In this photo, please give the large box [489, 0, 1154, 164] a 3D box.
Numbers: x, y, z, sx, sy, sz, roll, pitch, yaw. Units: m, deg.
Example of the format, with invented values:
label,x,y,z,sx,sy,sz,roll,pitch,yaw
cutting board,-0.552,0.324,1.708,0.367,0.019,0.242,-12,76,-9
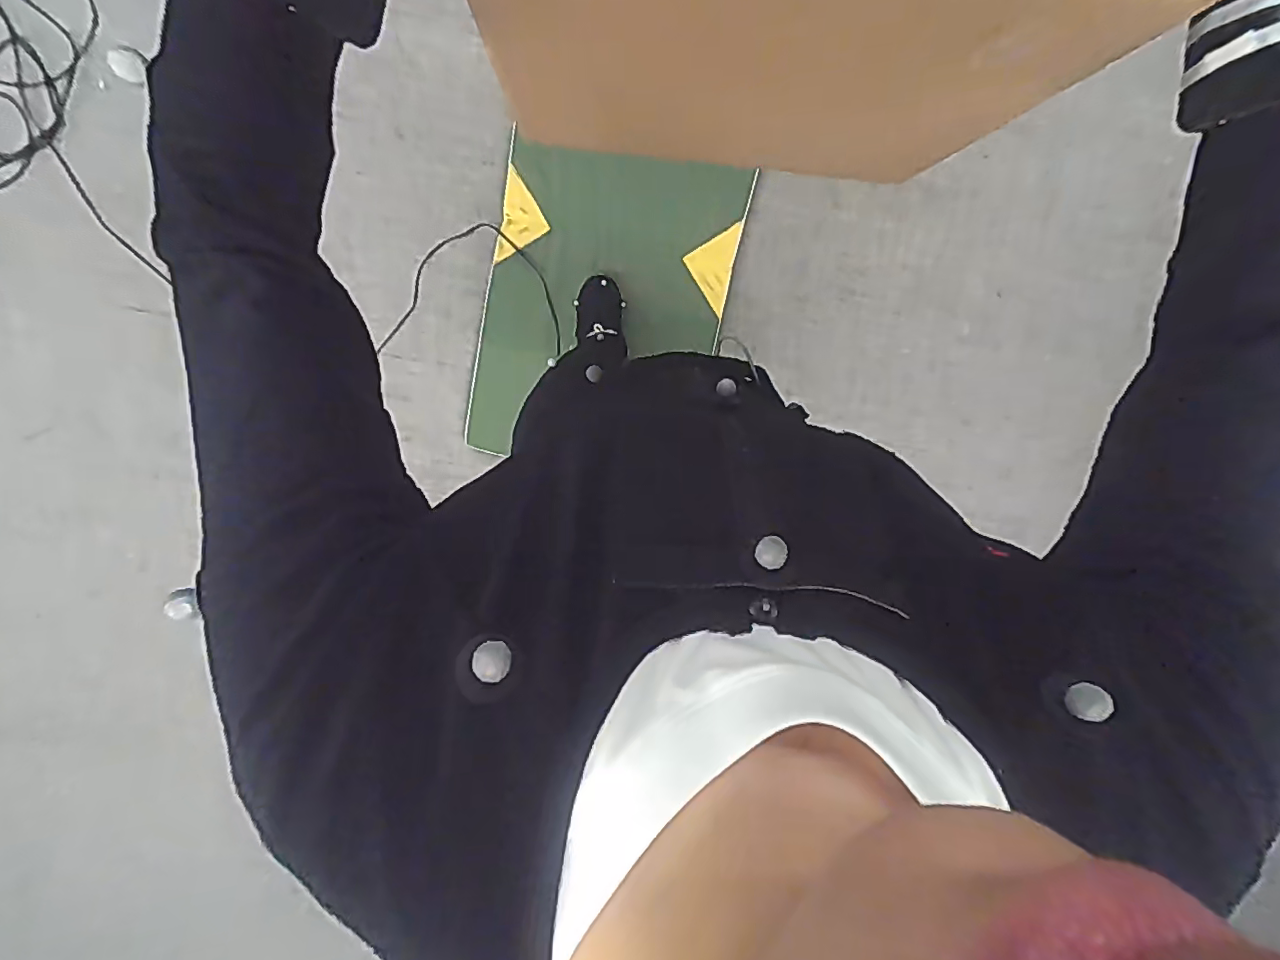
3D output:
label,x,y,z,sx,sy,sz,roll,pitch,yaw
large box,0.101,-0.454,0.378,0.408,0.320,0.320,3,103,-5
